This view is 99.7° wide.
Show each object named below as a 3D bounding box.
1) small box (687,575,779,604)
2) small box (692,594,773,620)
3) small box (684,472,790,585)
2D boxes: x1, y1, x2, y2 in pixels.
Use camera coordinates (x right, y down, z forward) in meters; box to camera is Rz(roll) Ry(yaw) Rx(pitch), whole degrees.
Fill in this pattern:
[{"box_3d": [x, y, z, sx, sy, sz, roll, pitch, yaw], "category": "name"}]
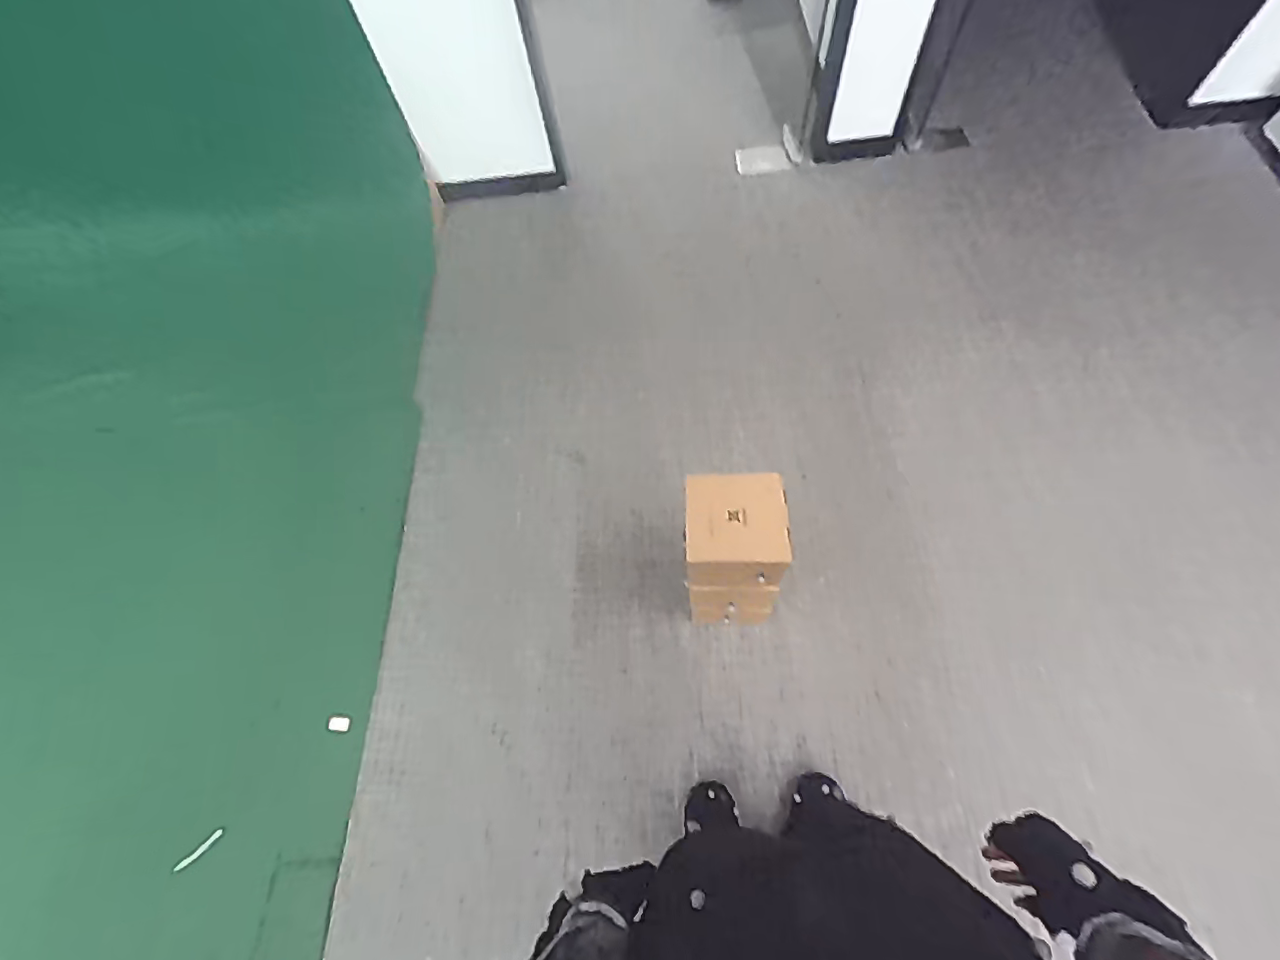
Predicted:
[{"box_3d": [0.191, 0.165, 1.149, 0.179, 0.176, 0.168, 0, 66, 6], "category": "small box"}, {"box_3d": [0.212, 0.238, 1.294, 0.179, 0.176, 0.168, -3, 66, 4], "category": "small box"}, {"box_3d": [0.172, 0.094, 1.004, 0.179, 0.176, 0.168, -2, 65, 6], "category": "small box"}]
